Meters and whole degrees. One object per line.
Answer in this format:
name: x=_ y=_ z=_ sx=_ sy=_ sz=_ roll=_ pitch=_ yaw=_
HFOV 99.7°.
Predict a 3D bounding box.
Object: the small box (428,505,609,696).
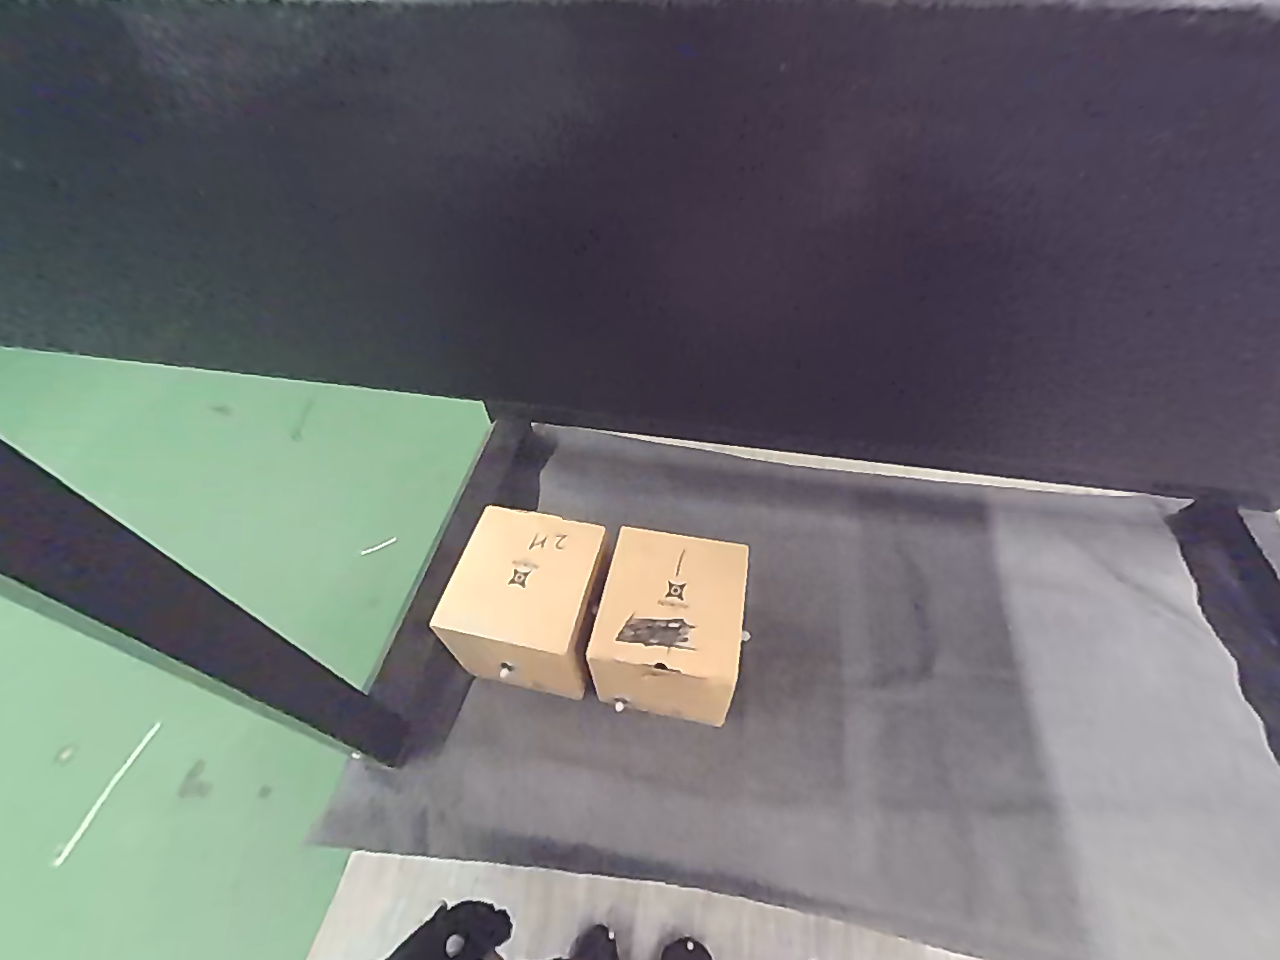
small box: x=-0.140 y=0.162 z=0.709 sx=0.168 sy=0.176 sz=0.179 roll=10 pitch=52 yaw=9
